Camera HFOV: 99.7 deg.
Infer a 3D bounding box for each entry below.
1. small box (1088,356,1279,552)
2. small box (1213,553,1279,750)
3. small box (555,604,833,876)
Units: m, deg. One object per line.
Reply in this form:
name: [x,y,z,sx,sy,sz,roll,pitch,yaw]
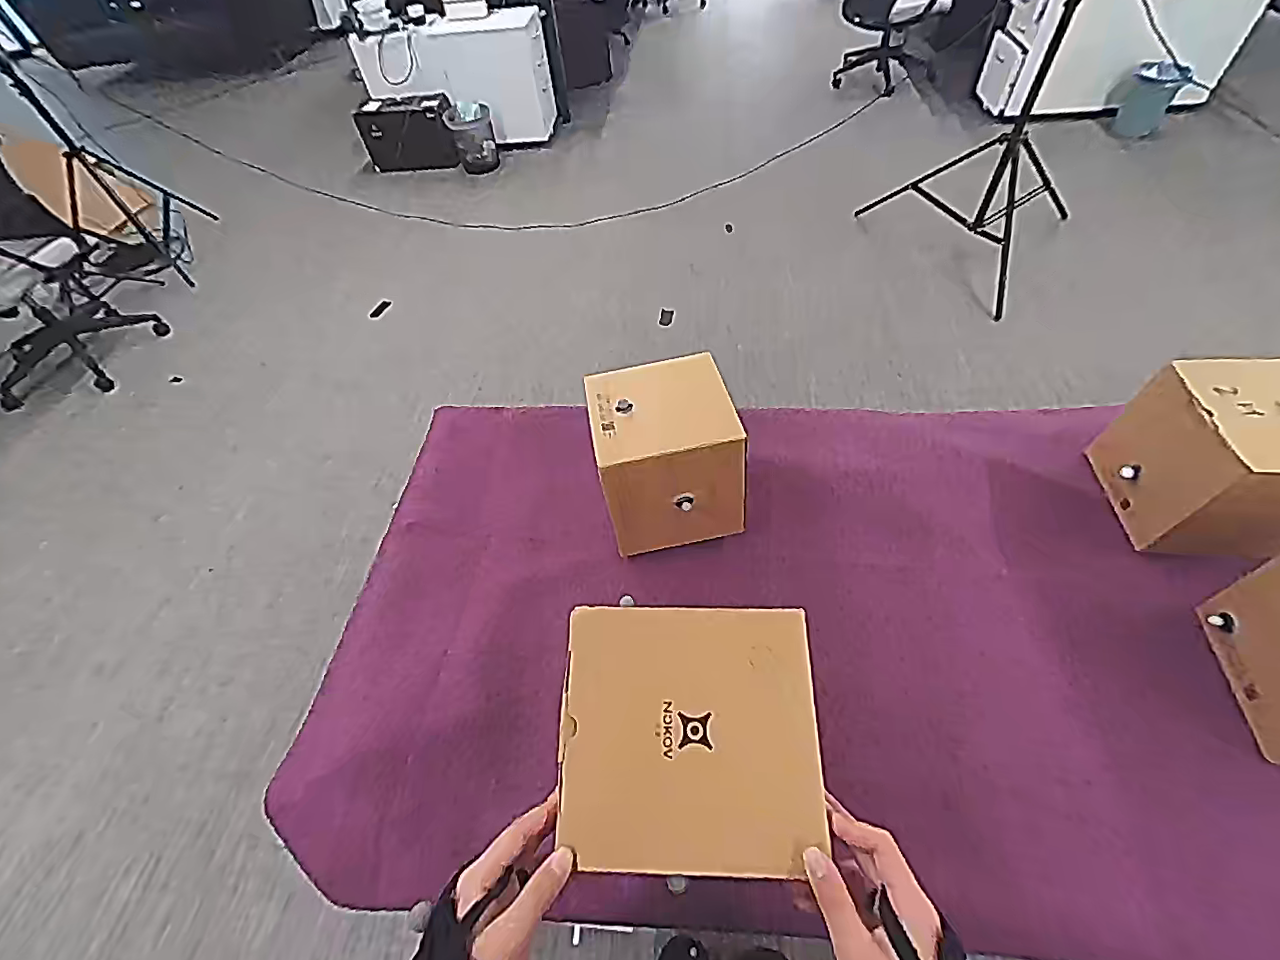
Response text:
small box: [0.694,-0.026,0.636,0.179,0.176,0.168,1,53,6]
small box: [0.696,0.161,0.492,0.179,0.176,0.168,6,52,10]
small box: [0.040,0.200,0.440,0.179,0.176,0.168,-1,65,5]
